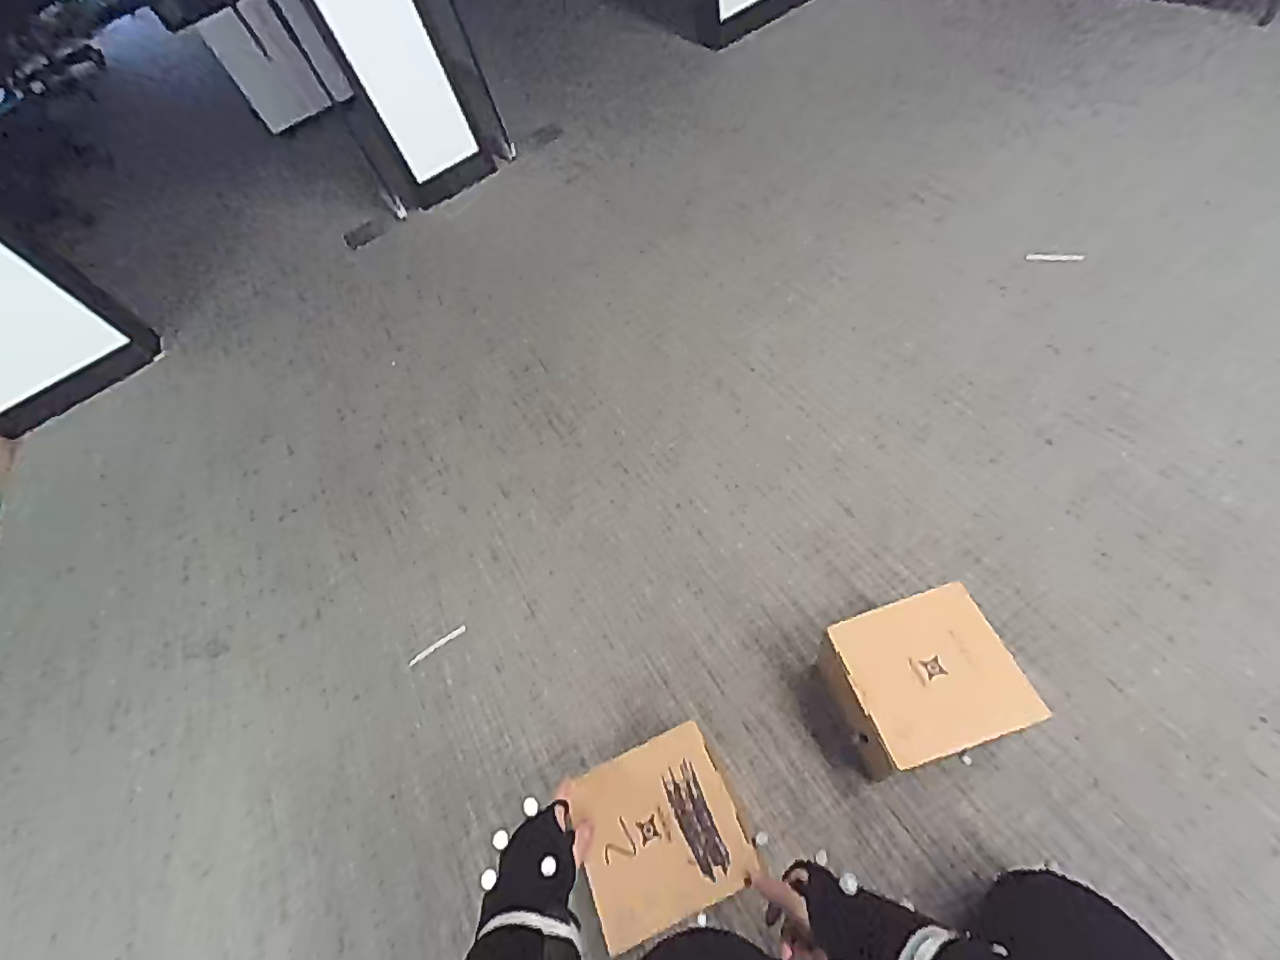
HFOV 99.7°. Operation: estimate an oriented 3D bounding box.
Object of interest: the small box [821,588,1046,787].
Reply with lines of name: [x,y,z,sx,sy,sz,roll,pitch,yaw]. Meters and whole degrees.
small box: [0.341,0.265,0.674,0.179,0.176,0.168,-20,55,1]
